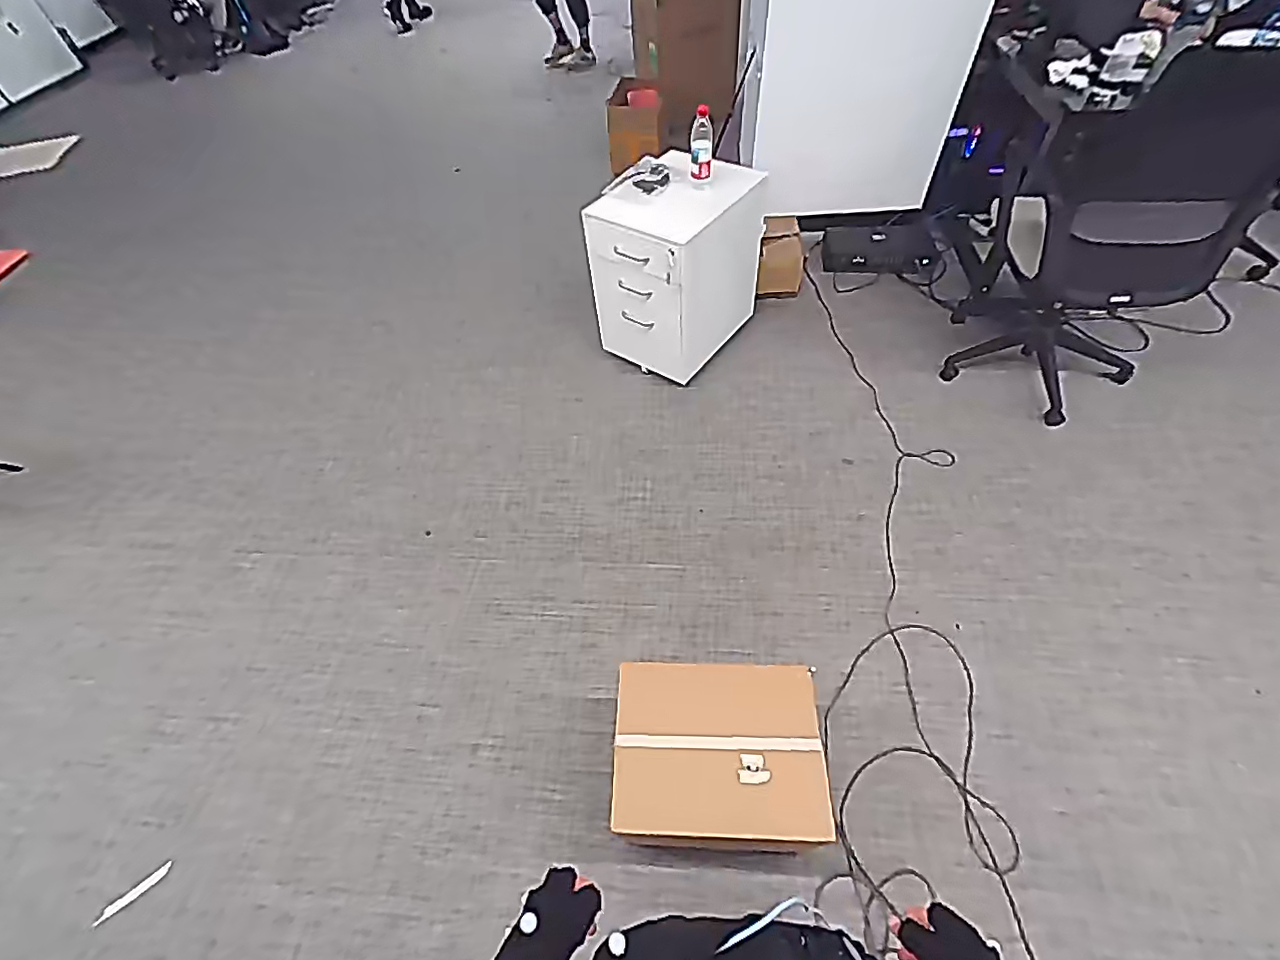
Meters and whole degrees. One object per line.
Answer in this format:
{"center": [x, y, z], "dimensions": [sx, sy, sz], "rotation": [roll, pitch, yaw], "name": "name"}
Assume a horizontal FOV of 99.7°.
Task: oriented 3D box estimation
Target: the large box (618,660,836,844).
{"center": [0.168, 0.602, 1.189], "dimensions": [0.408, 0.320, 0.320], "rotation": [0, 54, 4], "name": "large box"}
